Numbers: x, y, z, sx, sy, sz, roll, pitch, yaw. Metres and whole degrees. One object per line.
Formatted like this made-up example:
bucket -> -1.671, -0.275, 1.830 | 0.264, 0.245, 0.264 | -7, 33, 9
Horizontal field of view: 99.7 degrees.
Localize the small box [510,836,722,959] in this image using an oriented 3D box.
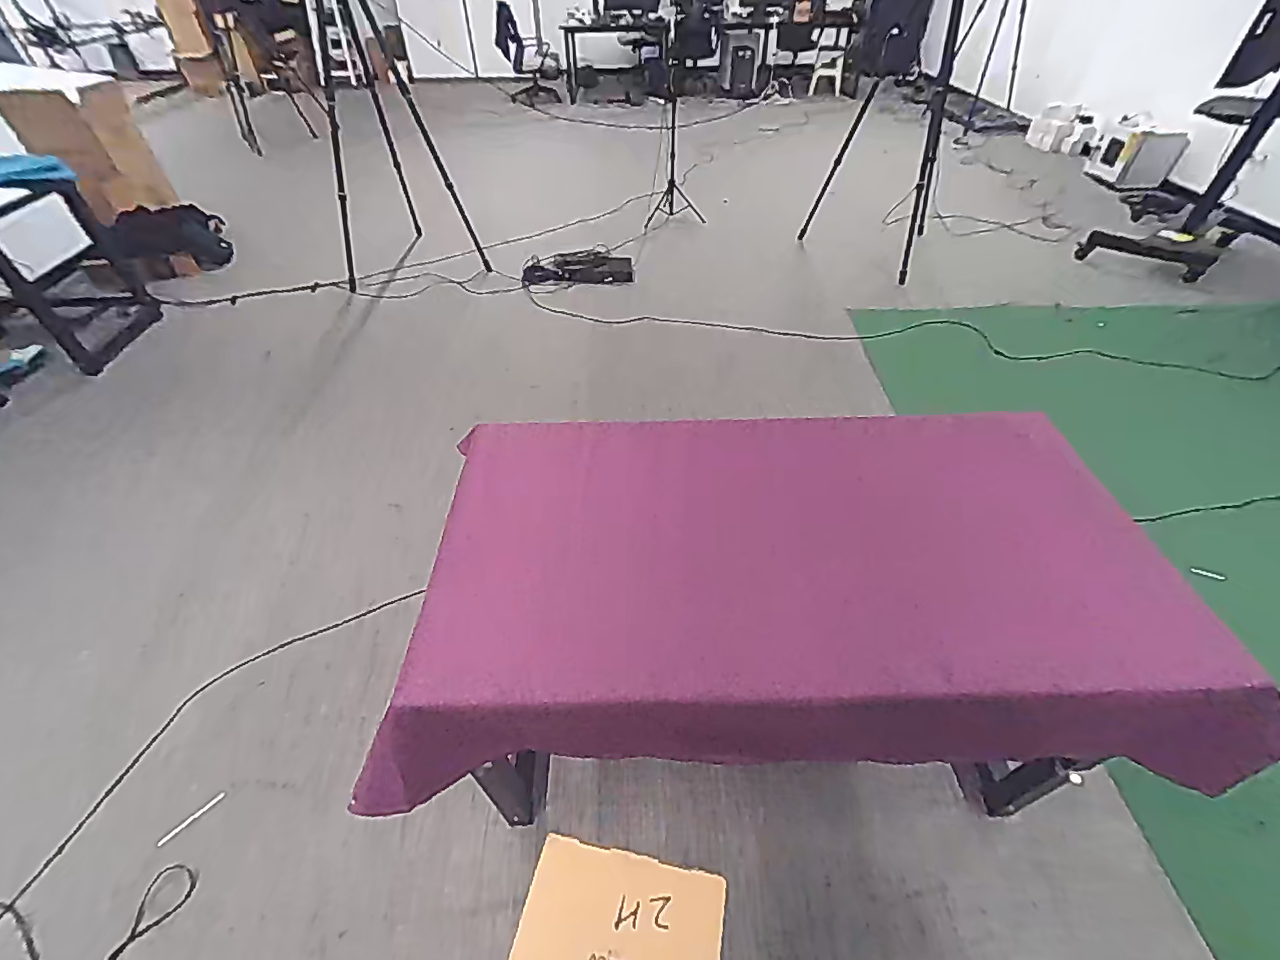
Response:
small box -> -0.023, 0.461, 0.481 | 0.168, 0.176, 0.179 | 7, 41, 12
